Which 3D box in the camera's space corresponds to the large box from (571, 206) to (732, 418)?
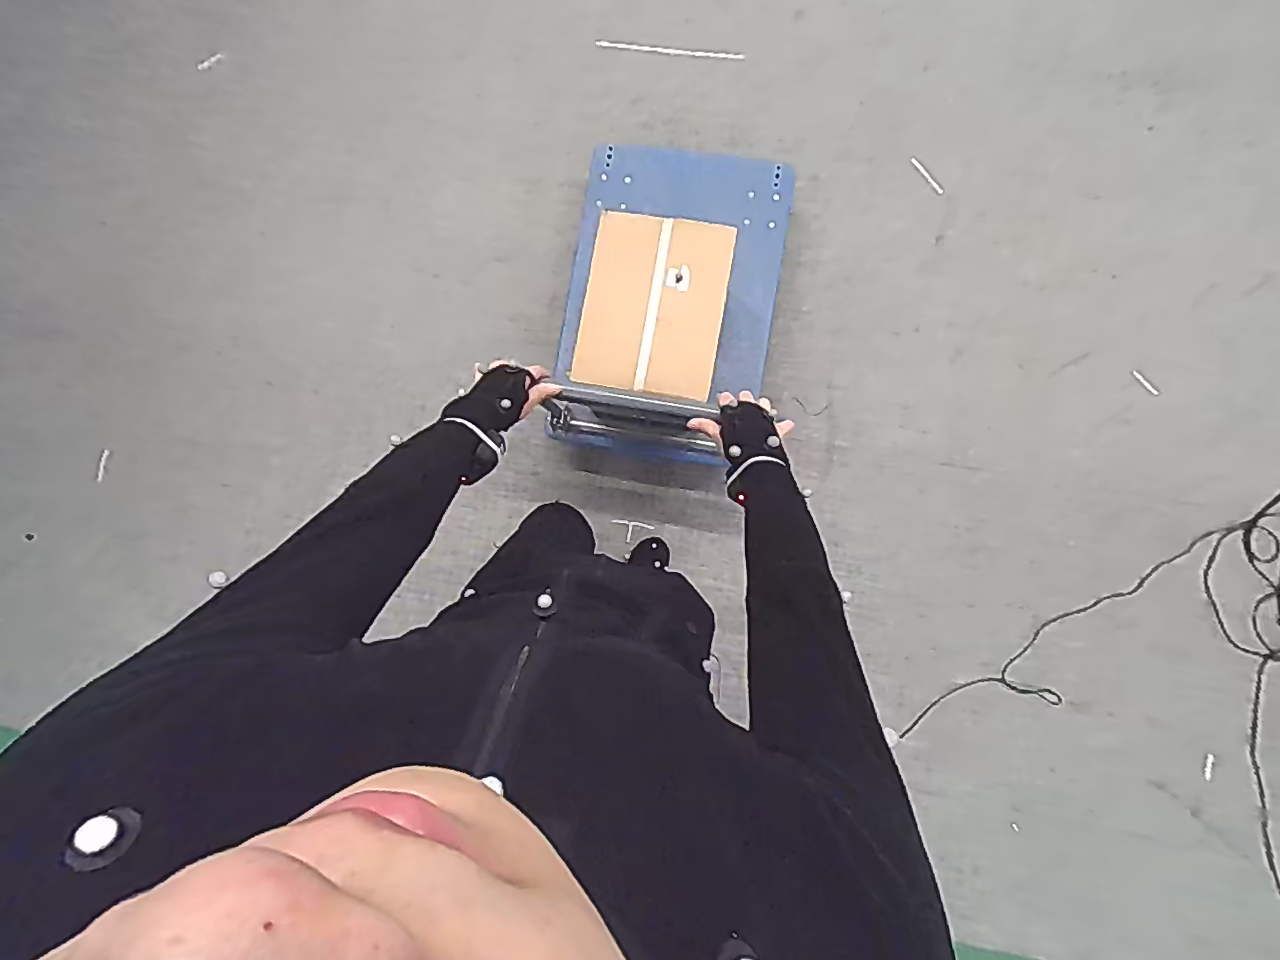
[{"bbox_3d":[0.036,-0.396,1.356,0.320,0.320,0.408,10,86,4],"label":"large box"}]
